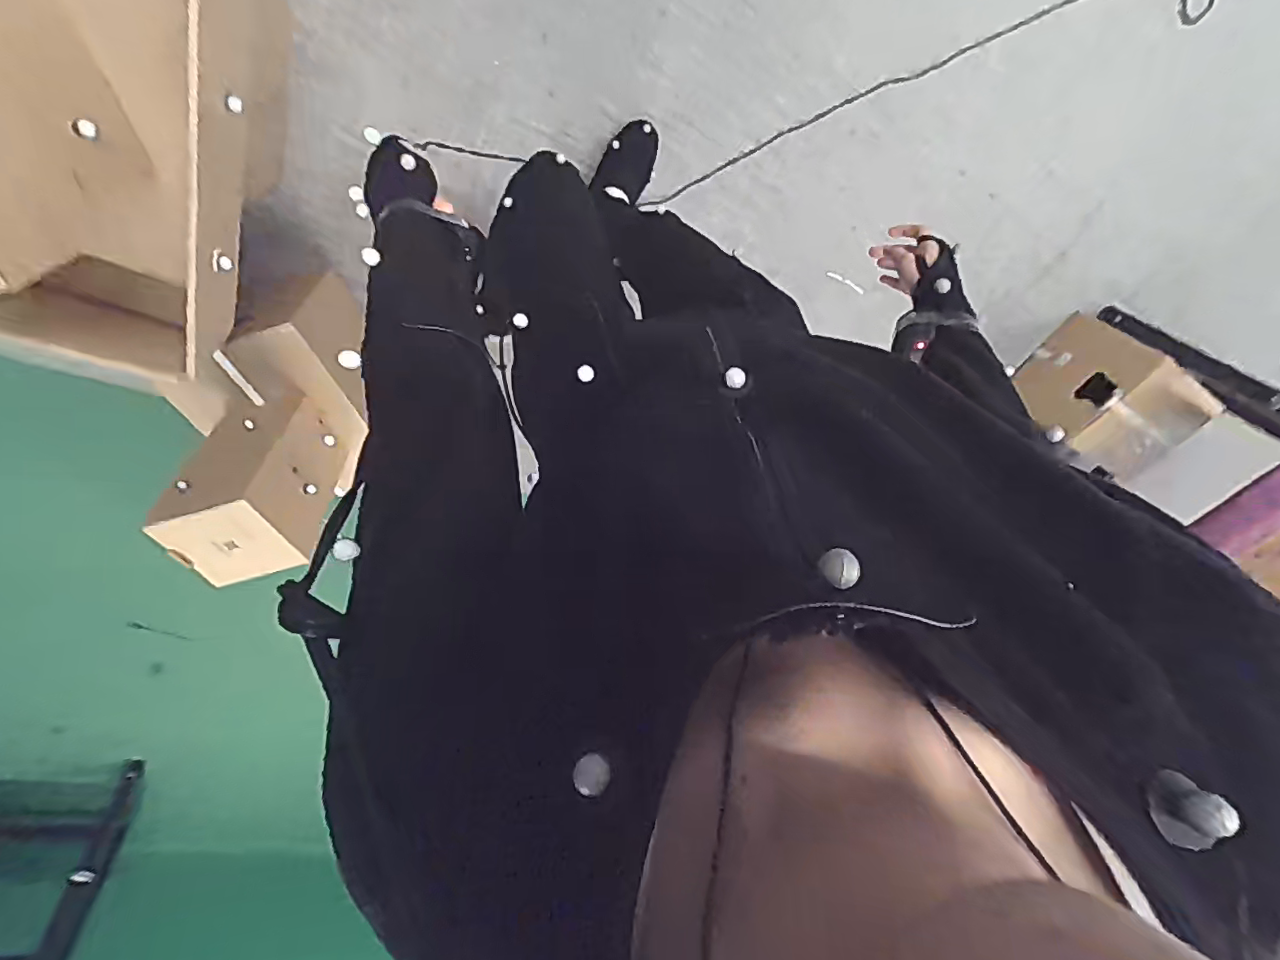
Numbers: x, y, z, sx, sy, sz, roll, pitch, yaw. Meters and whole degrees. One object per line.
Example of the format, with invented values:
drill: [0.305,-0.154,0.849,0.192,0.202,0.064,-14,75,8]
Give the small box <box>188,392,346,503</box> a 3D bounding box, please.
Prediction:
small box: [-0.723,-0.051,1.075,0.179,0.176,0.168,-14,132,-1]

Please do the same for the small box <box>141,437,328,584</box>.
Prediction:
small box: [-0.692,0.050,0.951,0.179,0.176,0.168,-16,133,1]

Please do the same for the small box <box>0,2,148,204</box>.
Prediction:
small box: [-0.728,-0.421,0.613,0.168,0.176,0.179,-9,132,-6]

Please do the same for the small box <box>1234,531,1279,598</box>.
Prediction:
small box: [1.556,0.212,1.244,0.179,0.176,0.168,19,124,-25]

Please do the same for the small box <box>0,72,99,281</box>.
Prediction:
small box: [-0.693,-0.297,0.508,0.168,0.176,0.179,-7,132,-6]
